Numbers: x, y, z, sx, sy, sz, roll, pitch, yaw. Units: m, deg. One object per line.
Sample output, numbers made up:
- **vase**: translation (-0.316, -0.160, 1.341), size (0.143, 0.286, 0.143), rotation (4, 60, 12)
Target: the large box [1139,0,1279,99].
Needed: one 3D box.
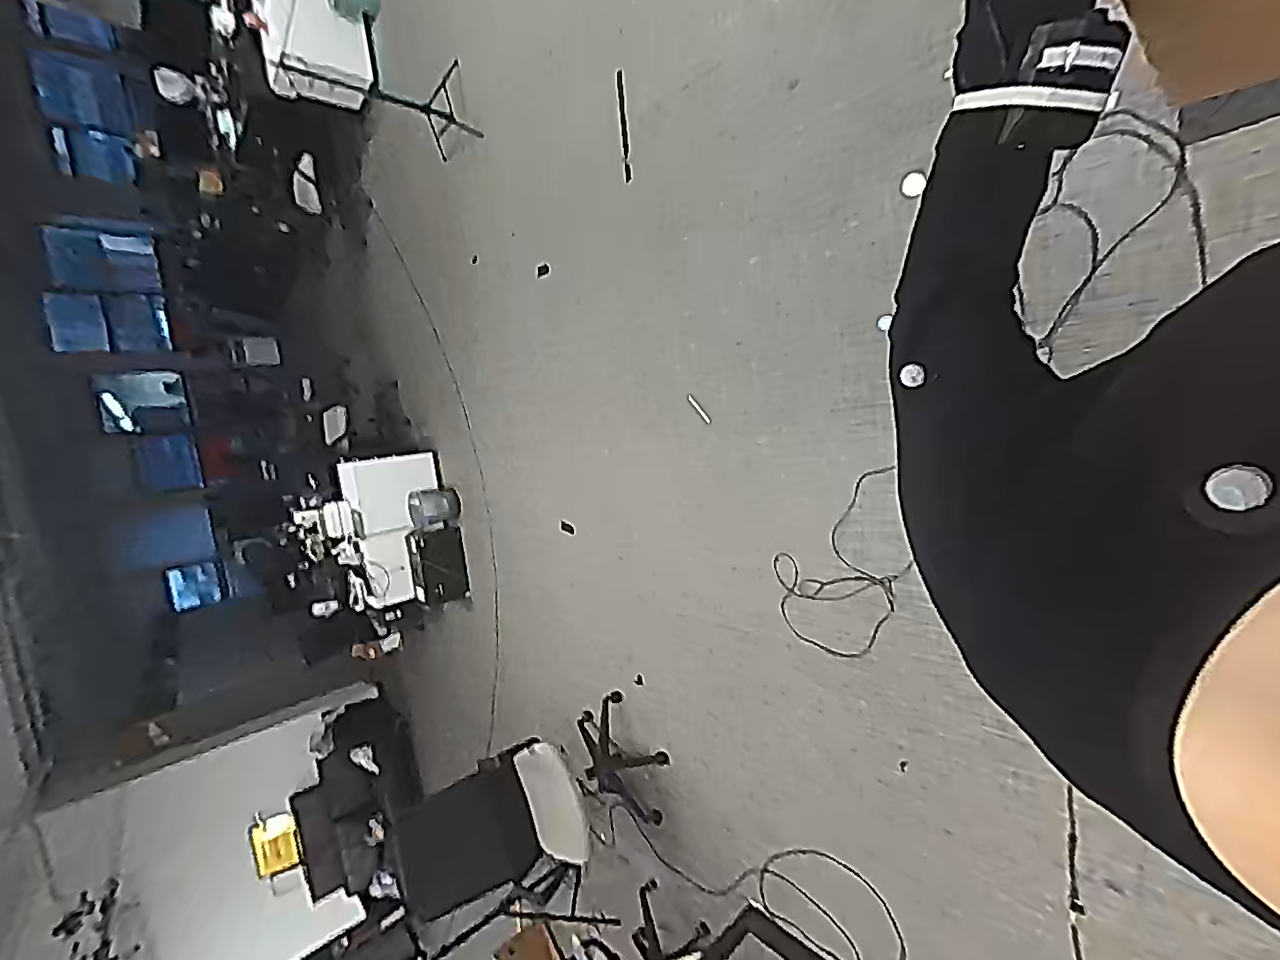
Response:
- **large box**: translation (0.496, -0.455, 0.228), size (0.408, 0.320, 0.320), rotation (8, 105, 49)

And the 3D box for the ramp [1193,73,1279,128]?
- **ramp**: translation (1.063, -1.117, 0.714), size (0.509, 0.206, 0.991), rotation (-3, 97, 49)
